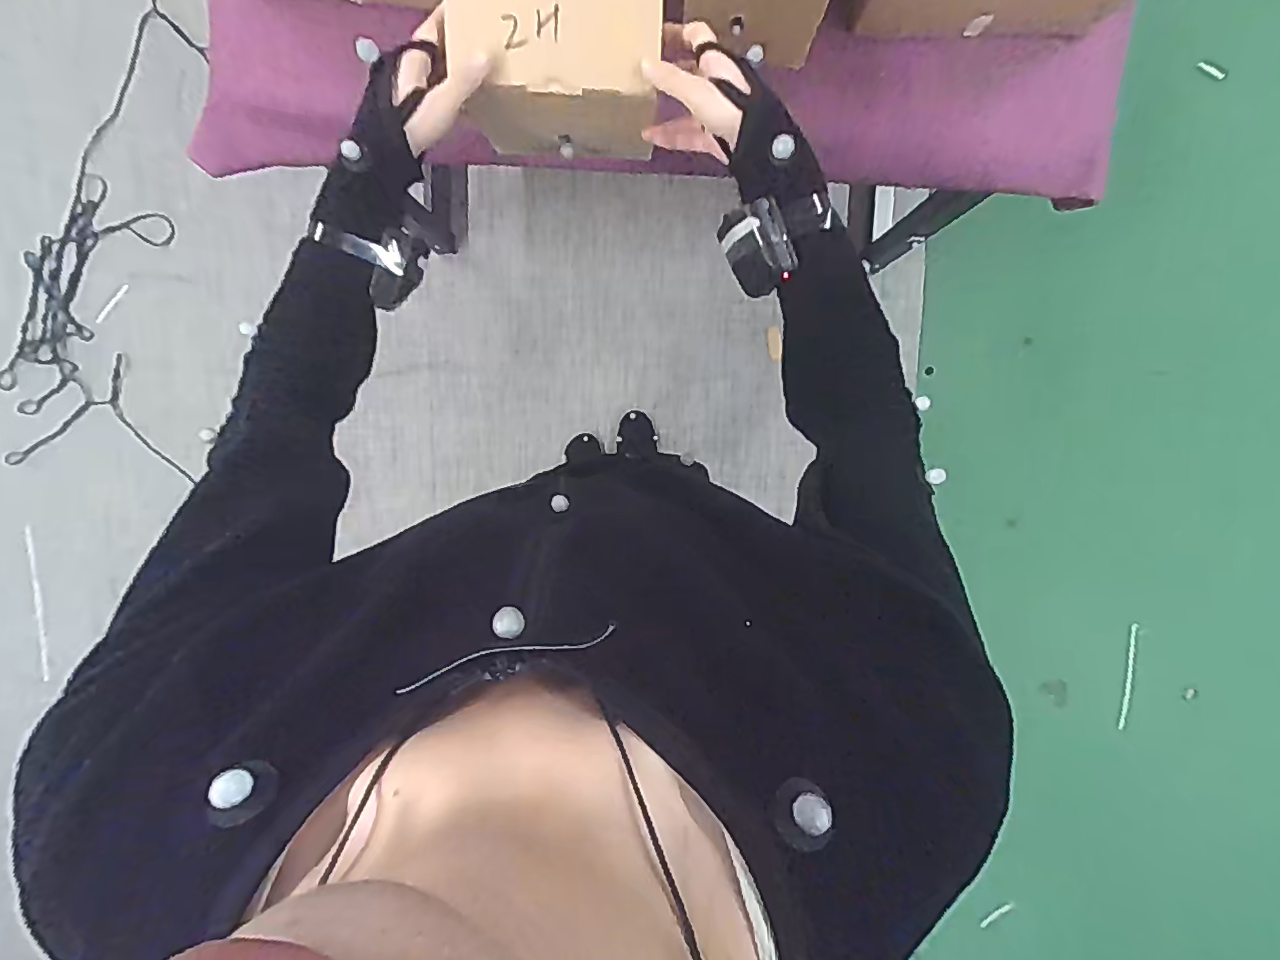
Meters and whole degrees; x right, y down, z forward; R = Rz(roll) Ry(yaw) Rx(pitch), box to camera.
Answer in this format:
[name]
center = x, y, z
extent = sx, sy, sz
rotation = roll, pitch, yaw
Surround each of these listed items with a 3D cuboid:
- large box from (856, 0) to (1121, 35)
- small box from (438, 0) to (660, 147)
[large box]
center = 0.431, -0.764, 0.538
extent = 0.320, 0.320, 0.408
rotation = 2, 97, 3
[small box]
center = -0.066, -0.417, 0.465
extent = 0.168, 0.176, 0.179
rotation = 3, 105, -2
